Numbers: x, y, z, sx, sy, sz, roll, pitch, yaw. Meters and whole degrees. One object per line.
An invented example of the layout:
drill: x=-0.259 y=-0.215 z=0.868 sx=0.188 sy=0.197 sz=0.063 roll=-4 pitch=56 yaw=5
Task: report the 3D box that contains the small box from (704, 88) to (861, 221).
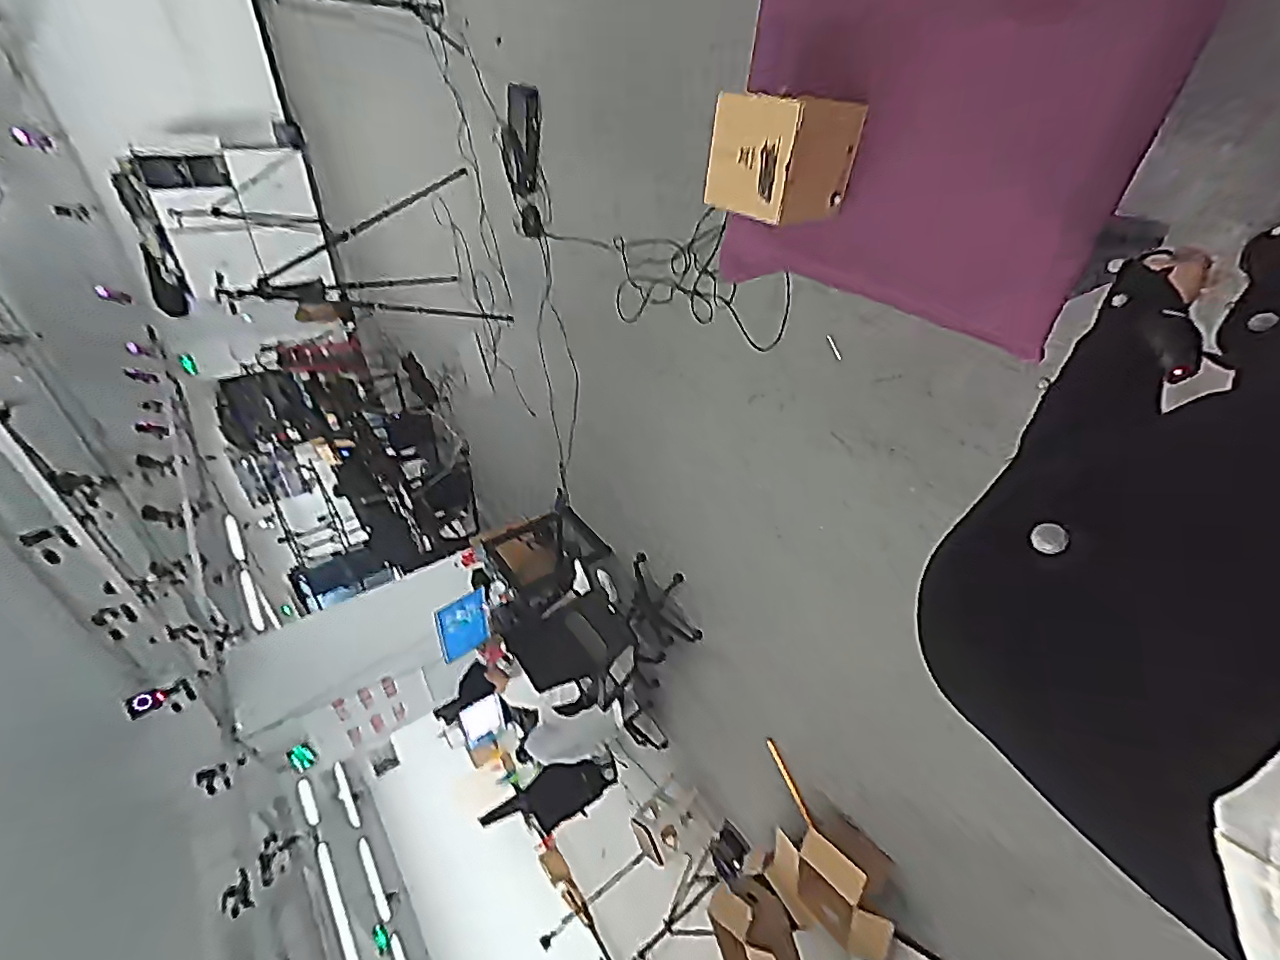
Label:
small box: x=0.237 y=-0.552 z=0.912 sx=0.179 sy=0.176 sz=0.168 roll=41 pitch=140 yaw=37
